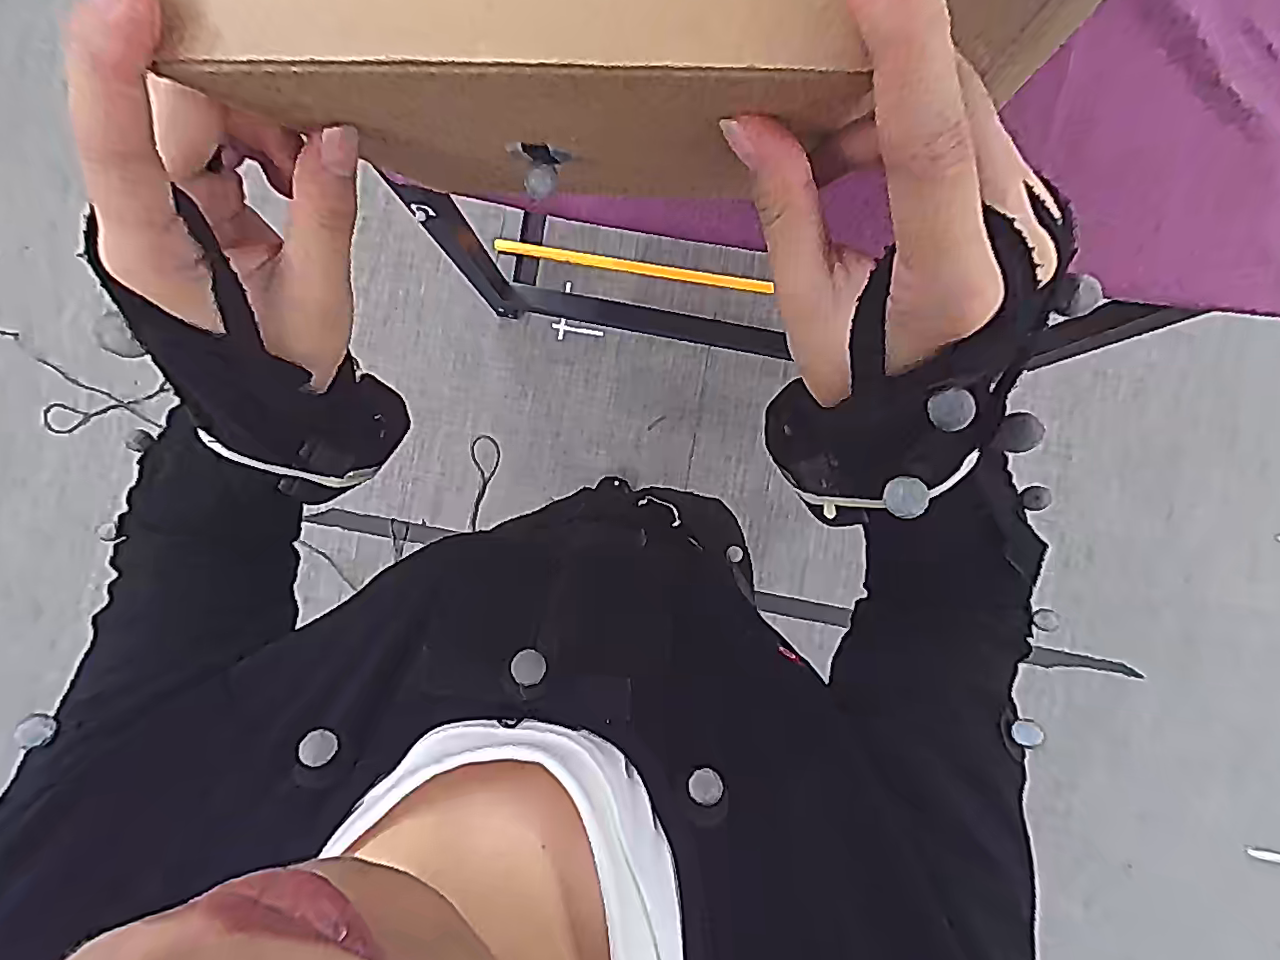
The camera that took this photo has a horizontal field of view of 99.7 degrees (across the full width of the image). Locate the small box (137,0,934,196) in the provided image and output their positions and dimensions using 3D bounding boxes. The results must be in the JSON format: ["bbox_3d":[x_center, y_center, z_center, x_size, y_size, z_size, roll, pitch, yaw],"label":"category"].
[{"bbox_3d":[-0.017,-0.195,0.168,0.179,0.176,0.168,4,109,3],"label":"small box"}]
